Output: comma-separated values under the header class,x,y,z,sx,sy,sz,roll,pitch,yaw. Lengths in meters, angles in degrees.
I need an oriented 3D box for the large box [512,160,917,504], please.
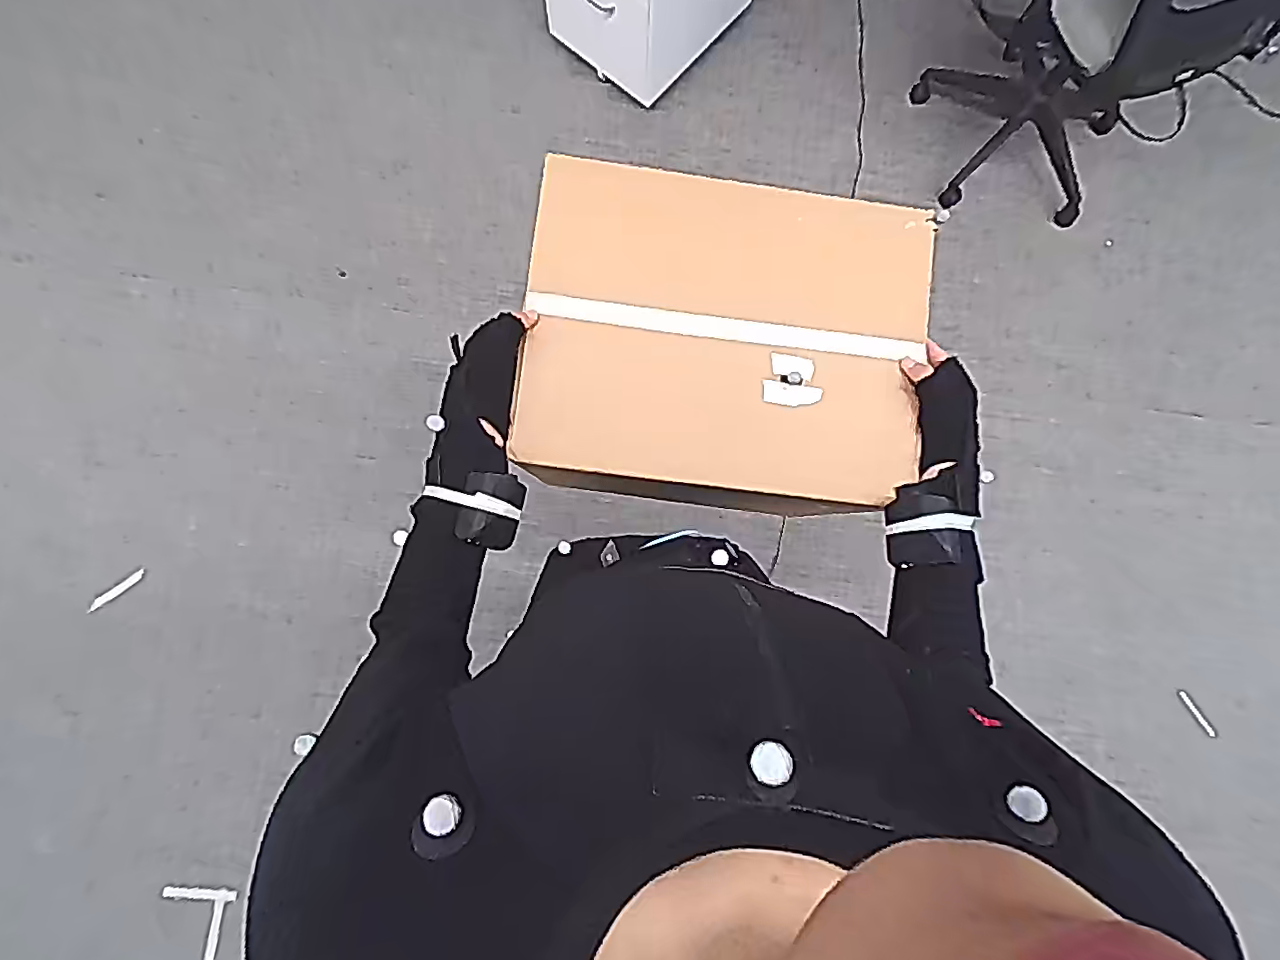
class,x,y,z,sx,sy,sz,roll,pitch,yaw
large box,0.072,-0.145,0.701,0.408,0.320,0.320,7,86,-4
